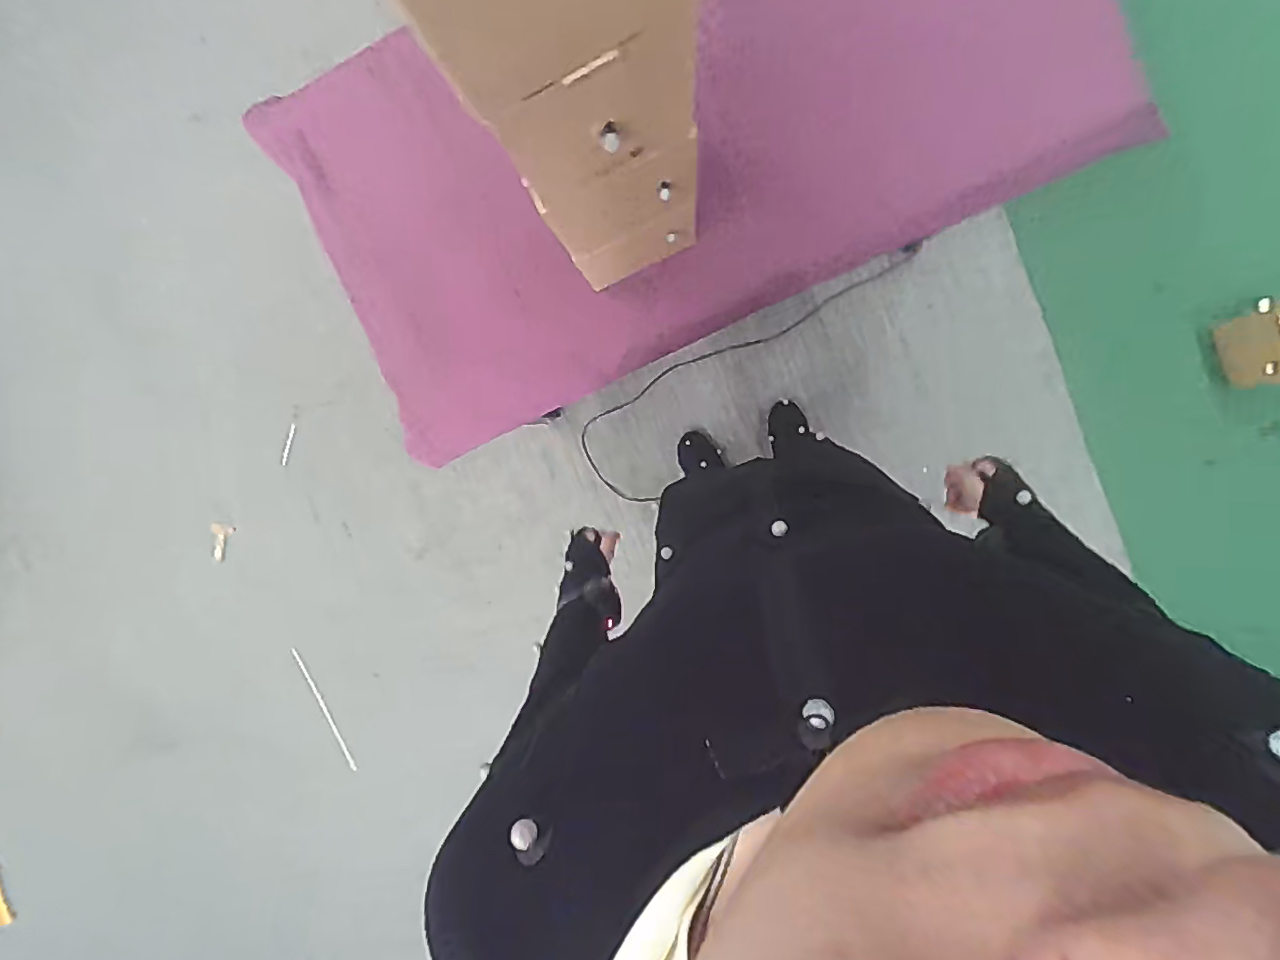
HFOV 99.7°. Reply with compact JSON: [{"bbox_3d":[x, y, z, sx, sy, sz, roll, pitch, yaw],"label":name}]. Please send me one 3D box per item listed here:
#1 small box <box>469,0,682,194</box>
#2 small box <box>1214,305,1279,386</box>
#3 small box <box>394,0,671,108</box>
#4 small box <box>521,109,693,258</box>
[{"bbox_3d":[-0.069,-0.372,0.451,0.168,0.176,0.179,-25,93,7],"label":"small box"},{"bbox_3d":[1.610,-0.340,1.344,0.168,0.176,0.179,-22,94,8],"label":"small box"},{"bbox_3d":[-0.082,-0.353,0.289,0.179,0.176,0.168,-25,93,7],"label":"small box"},{"bbox_3d":[-0.051,-0.383,0.613,0.179,0.176,0.168,-24,93,8],"label":"small box"}]
